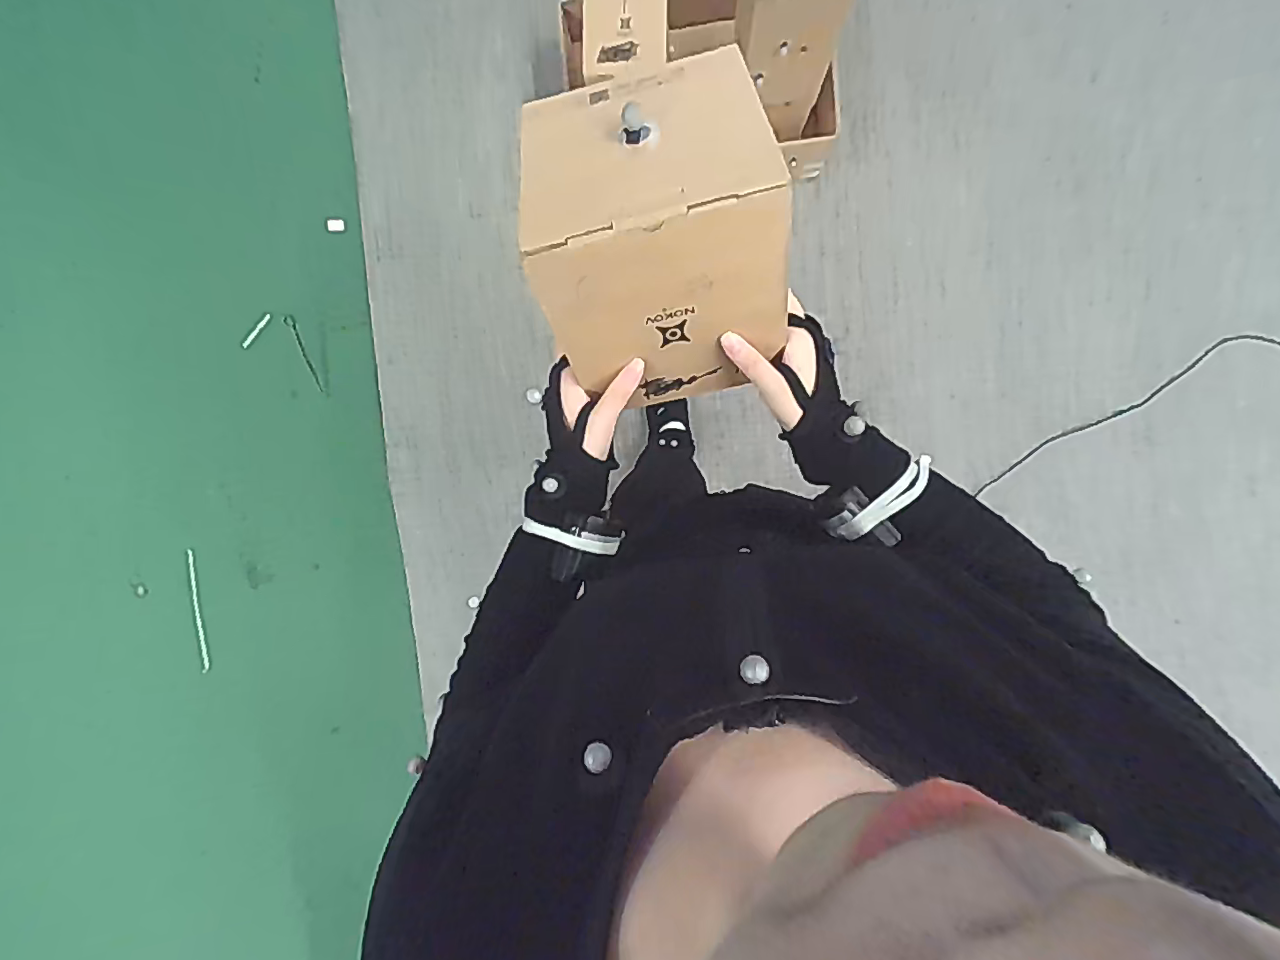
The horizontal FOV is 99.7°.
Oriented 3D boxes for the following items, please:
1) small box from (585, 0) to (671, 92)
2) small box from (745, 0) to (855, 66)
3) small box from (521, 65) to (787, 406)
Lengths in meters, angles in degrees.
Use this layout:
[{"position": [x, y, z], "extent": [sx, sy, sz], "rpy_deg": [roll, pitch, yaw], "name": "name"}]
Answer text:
[{"position": [-0.020, -0.877, 1.127], "extent": [0.168, 0.176, 0.179], "rpy_deg": [1, 93, 4], "name": "small box"}, {"position": [0.275, -0.876, 0.944], "extent": [0.168, 0.176, 0.179], "rpy_deg": [-2, 94, 5], "name": "small box"}, {"position": [0.013, -0.189, 0.430], "extent": [0.168, 0.179, 0.176], "rpy_deg": [-10, 59, 8], "name": "small box"}]
